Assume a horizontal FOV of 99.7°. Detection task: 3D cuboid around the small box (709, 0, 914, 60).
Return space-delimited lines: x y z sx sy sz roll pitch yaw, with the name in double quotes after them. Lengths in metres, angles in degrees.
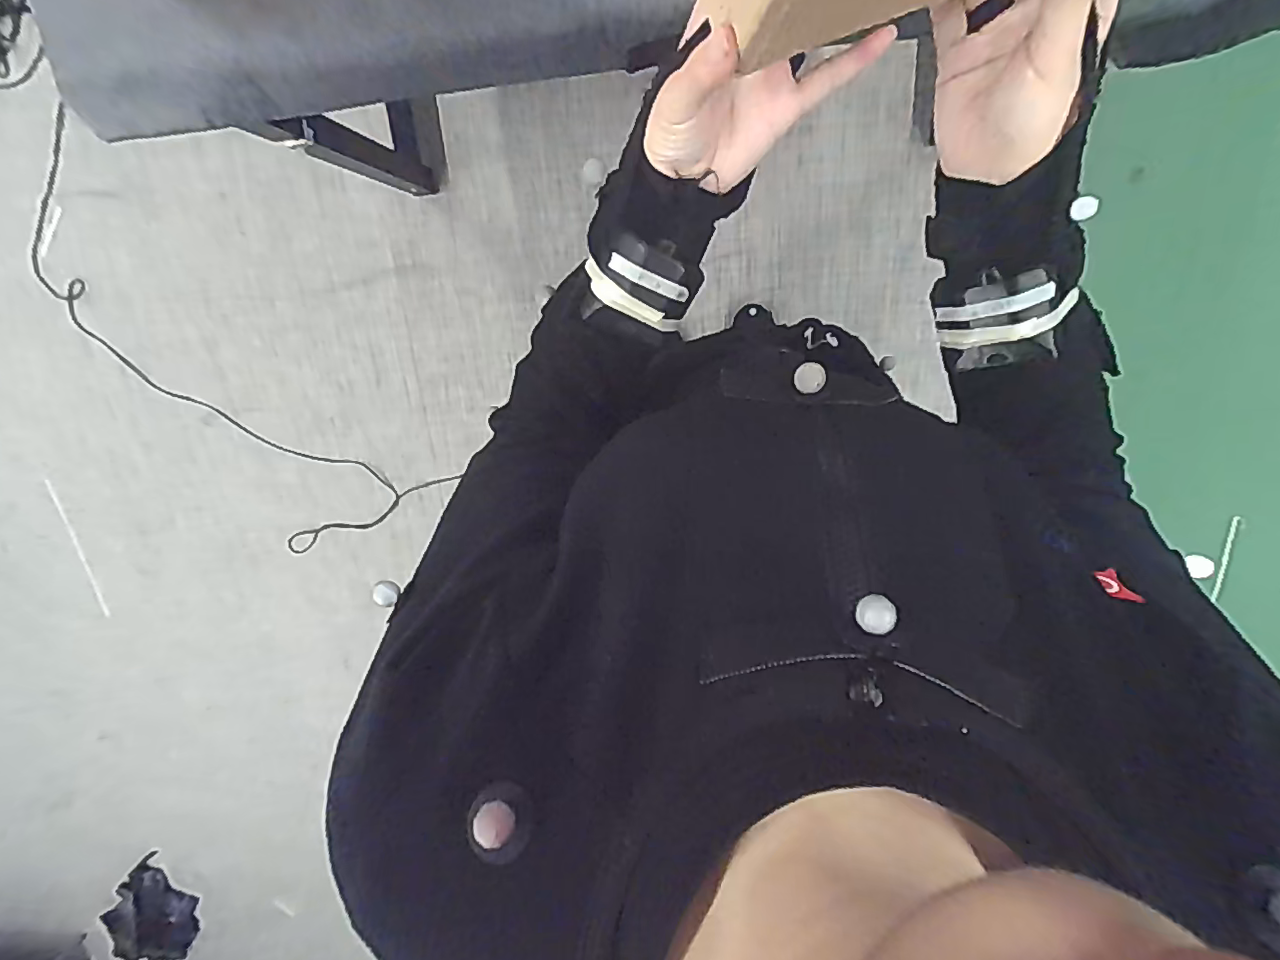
0.096 -0.260 0.146 0.179 0.176 0.168 -19 110 5 "small box"
